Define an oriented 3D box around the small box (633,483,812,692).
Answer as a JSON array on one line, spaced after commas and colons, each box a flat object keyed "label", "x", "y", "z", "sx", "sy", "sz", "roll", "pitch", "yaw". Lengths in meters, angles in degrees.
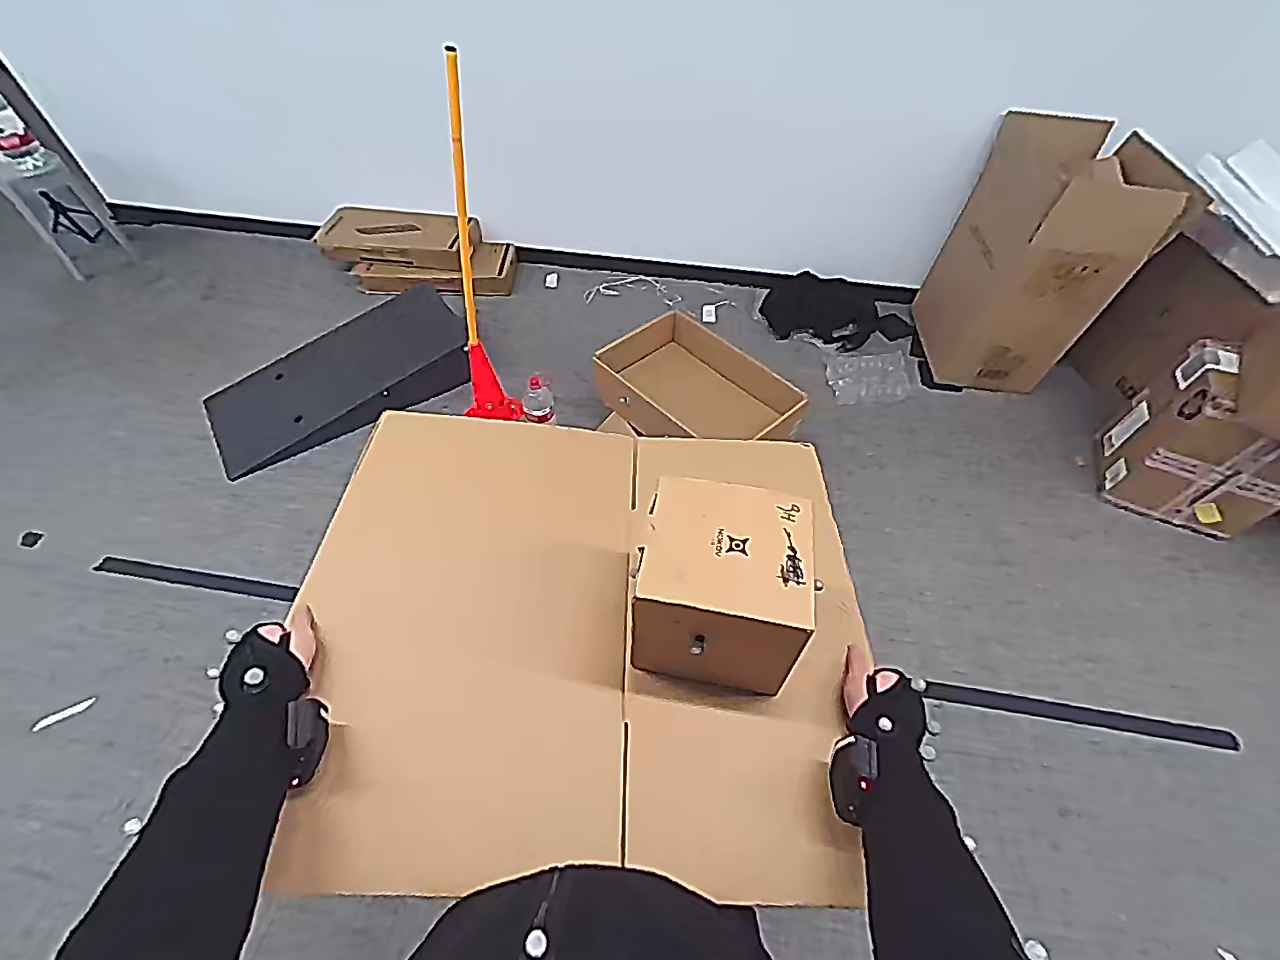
[{"label": "small box", "x": 0.093, "y": 0.128, "z": 0.632, "sx": 0.179, "sy": 0.176, "sz": 0.168, "roll": 9, "pitch": 49, "yaw": 7}]
